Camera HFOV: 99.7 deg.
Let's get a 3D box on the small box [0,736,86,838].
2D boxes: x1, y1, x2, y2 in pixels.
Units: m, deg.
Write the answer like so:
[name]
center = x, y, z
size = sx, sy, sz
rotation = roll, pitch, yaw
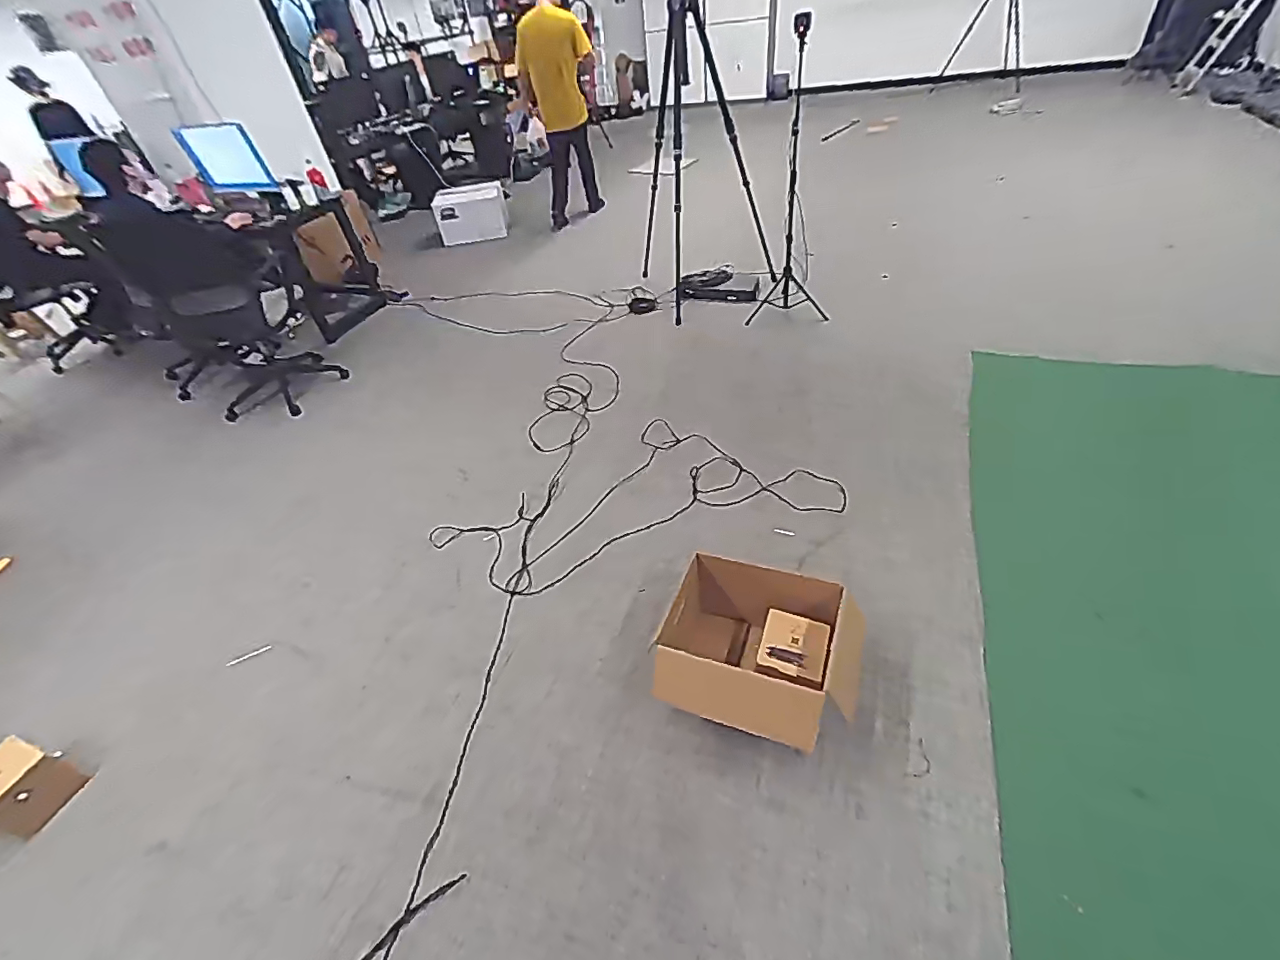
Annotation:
[small box]
center = -1.698, 0.844, 1.485
size = 0.168, 0.176, 0.179
rotation = 9, 47, 18
